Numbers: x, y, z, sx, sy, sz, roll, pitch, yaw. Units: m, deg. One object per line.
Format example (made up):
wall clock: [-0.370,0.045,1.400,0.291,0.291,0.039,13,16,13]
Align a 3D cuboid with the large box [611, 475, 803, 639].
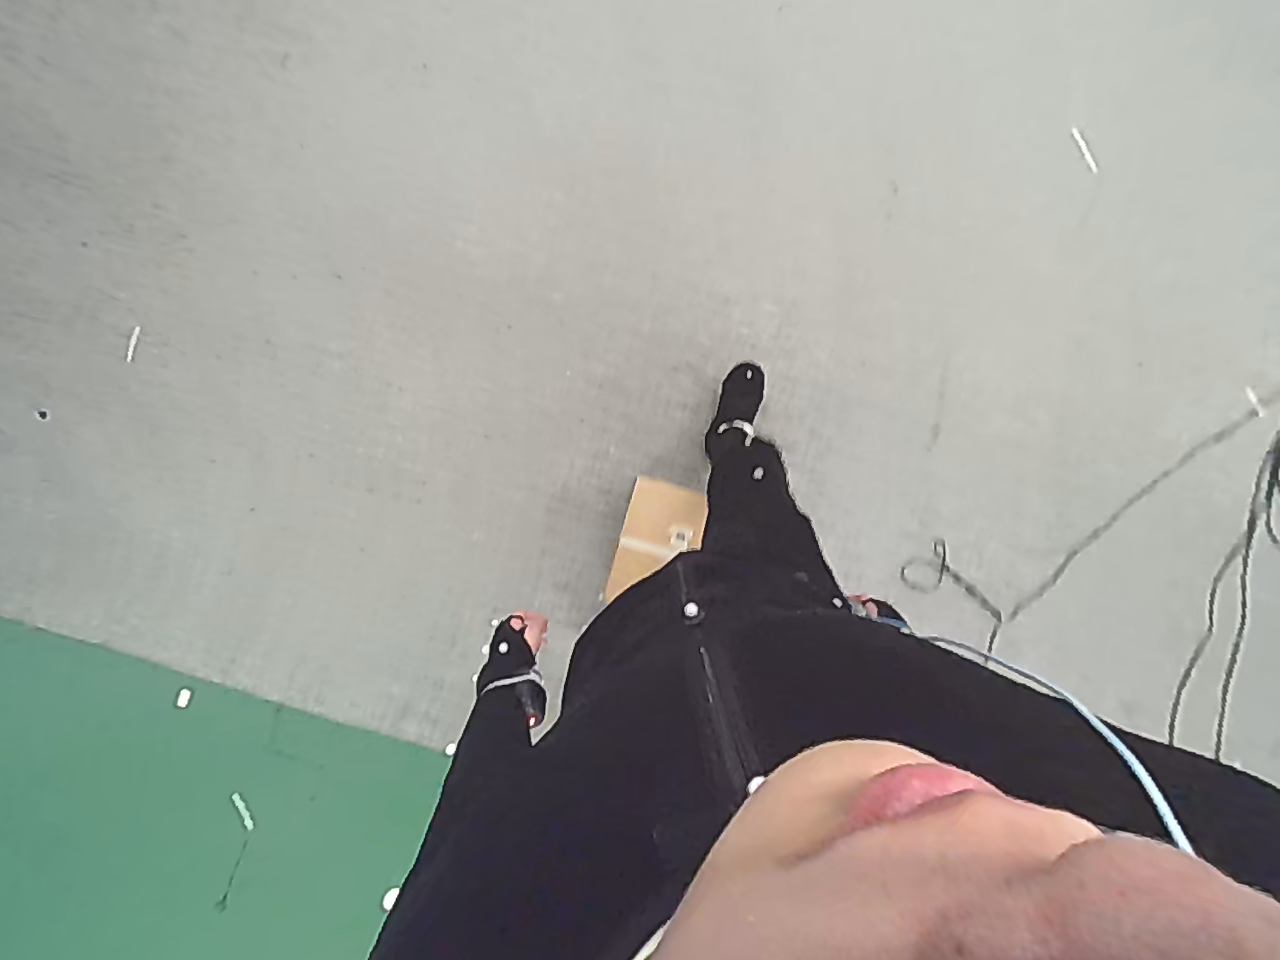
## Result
large box: [0.163,0.182,1.424,0.408,0.320,0.320,15,90,1]
